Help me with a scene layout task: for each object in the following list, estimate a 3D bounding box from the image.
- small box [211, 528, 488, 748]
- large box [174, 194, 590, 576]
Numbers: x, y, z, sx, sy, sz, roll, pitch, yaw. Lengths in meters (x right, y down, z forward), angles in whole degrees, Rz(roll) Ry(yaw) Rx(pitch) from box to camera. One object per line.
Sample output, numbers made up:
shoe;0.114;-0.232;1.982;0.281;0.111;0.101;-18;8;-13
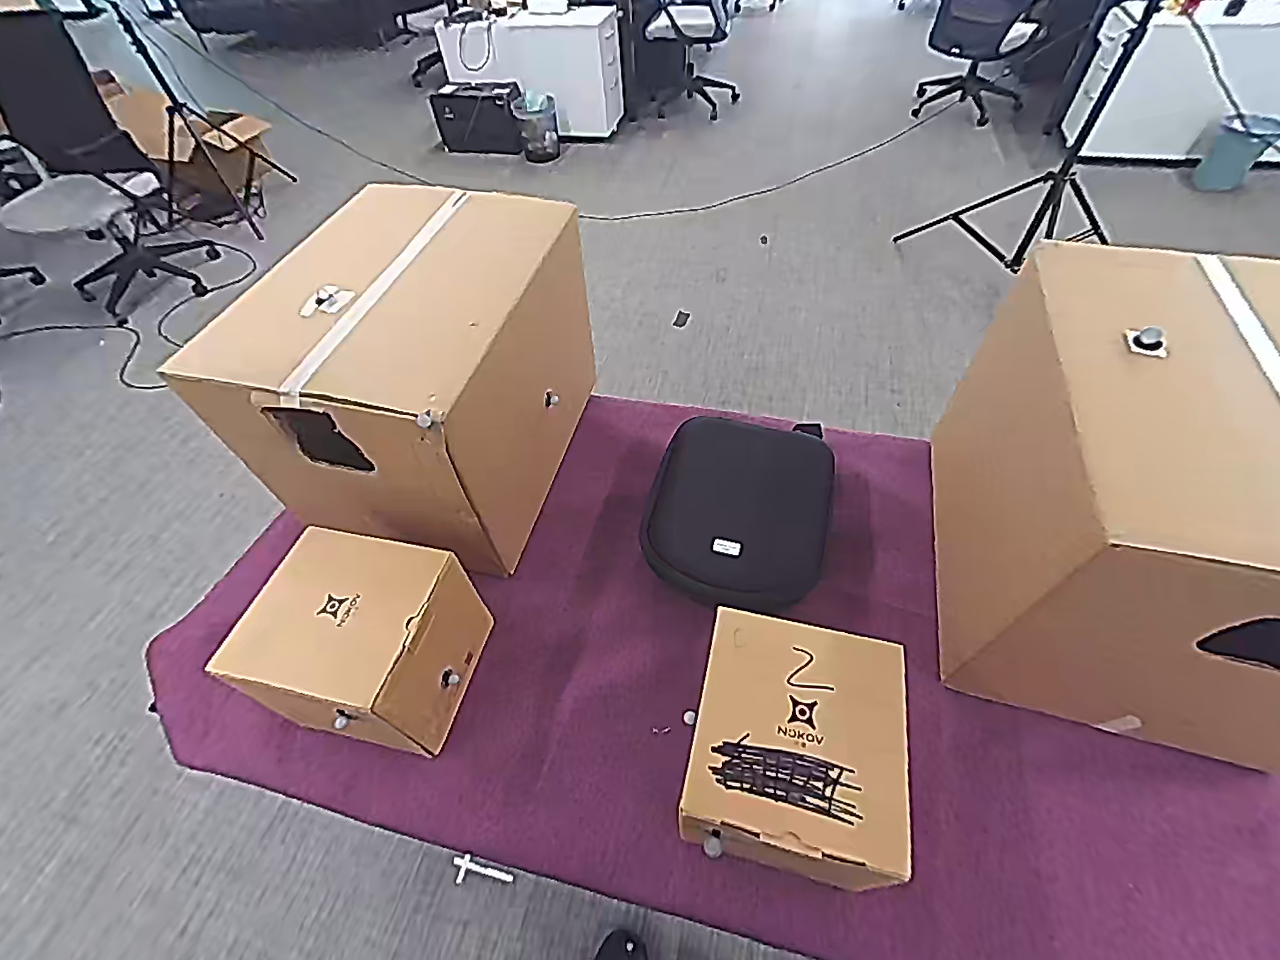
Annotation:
small box;-0.294;0.176;0.595;0.179;0.176;0.168;8;51;9
large box;-0.276;-0.135;0.750;0.320;0.320;0.408;9;55;9
